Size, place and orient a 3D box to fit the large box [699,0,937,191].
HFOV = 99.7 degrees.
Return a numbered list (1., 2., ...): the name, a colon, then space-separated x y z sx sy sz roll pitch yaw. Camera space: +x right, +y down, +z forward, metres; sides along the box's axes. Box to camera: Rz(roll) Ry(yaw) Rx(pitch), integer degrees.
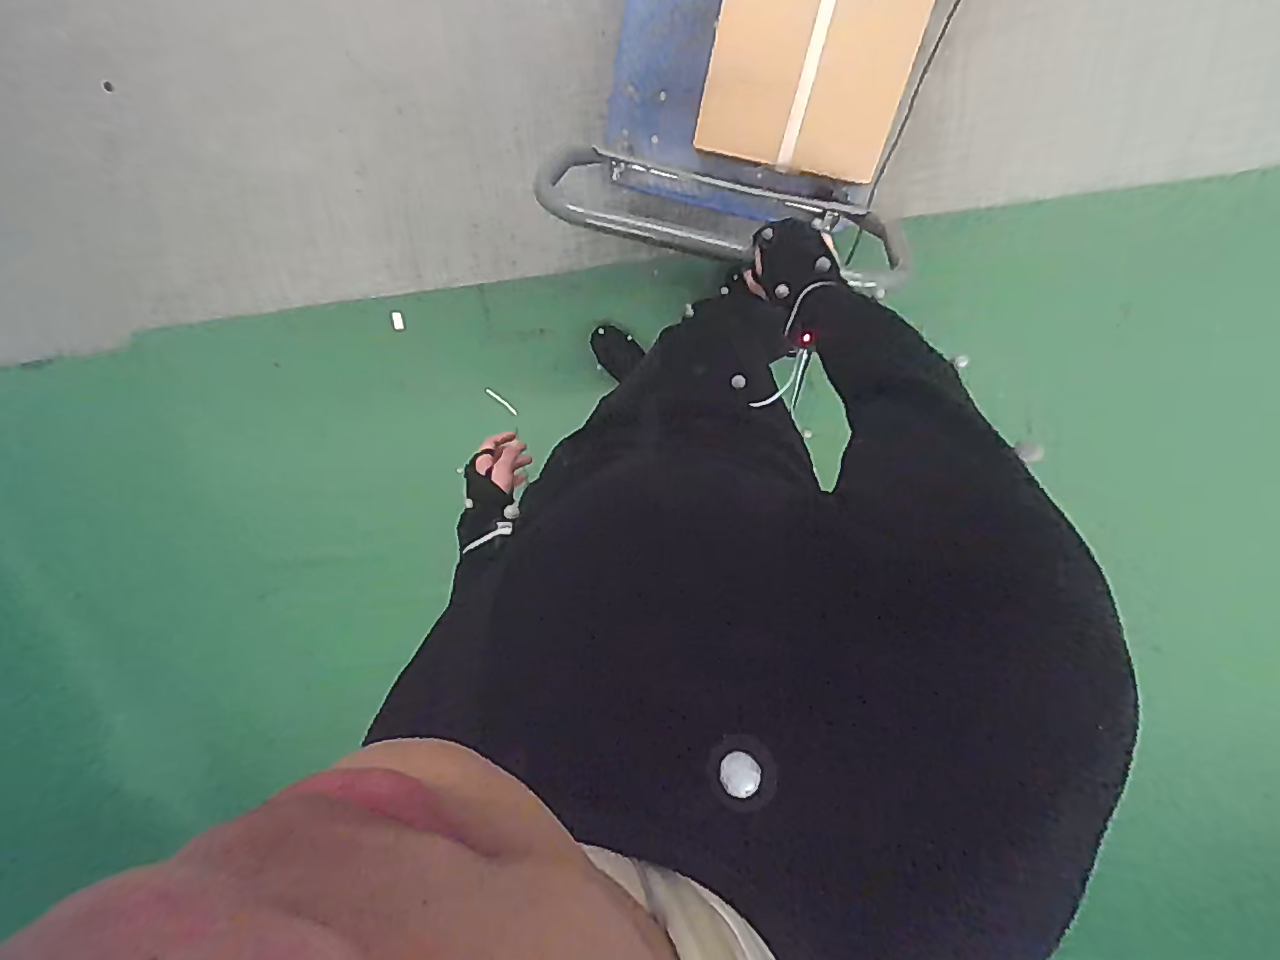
1. large box: 0.308 -0.773 0.975 0.320 0.320 0.408 14 119 1
